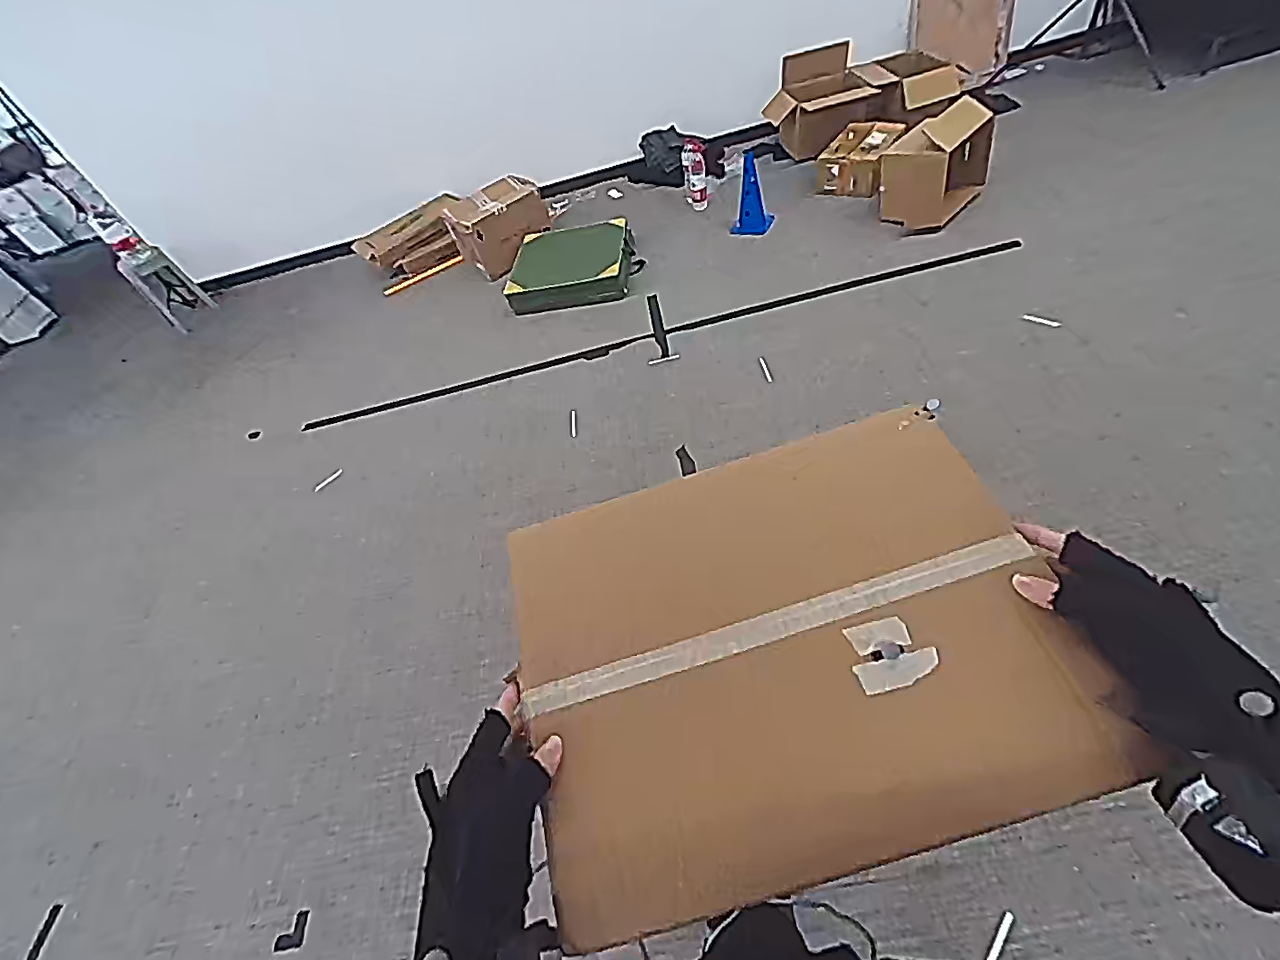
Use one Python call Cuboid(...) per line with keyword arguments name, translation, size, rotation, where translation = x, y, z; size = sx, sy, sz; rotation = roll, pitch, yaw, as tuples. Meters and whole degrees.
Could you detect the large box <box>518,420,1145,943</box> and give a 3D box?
Cuboid(name="large box", translation=(0.132, 0.203, 0.558), size=(0.408, 0.320, 0.320), rotation=(-18, 56, 1))
